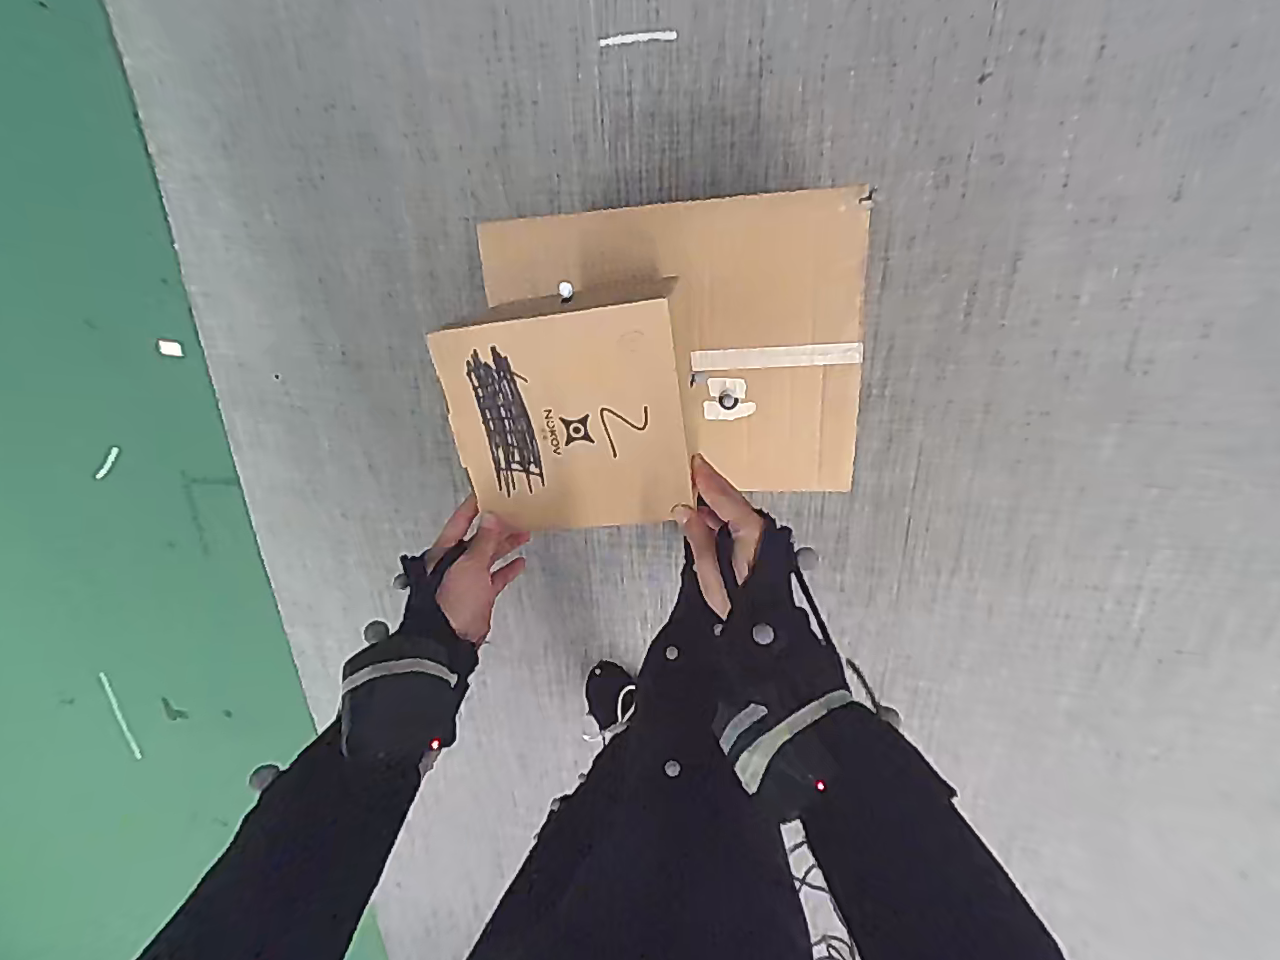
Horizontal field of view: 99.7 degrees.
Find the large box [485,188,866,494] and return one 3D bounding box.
[{"bbox_3d":[0.059,-0.180,0.742,0.408,0.320,0.320,-1,110,11],"label":"large box"}]
